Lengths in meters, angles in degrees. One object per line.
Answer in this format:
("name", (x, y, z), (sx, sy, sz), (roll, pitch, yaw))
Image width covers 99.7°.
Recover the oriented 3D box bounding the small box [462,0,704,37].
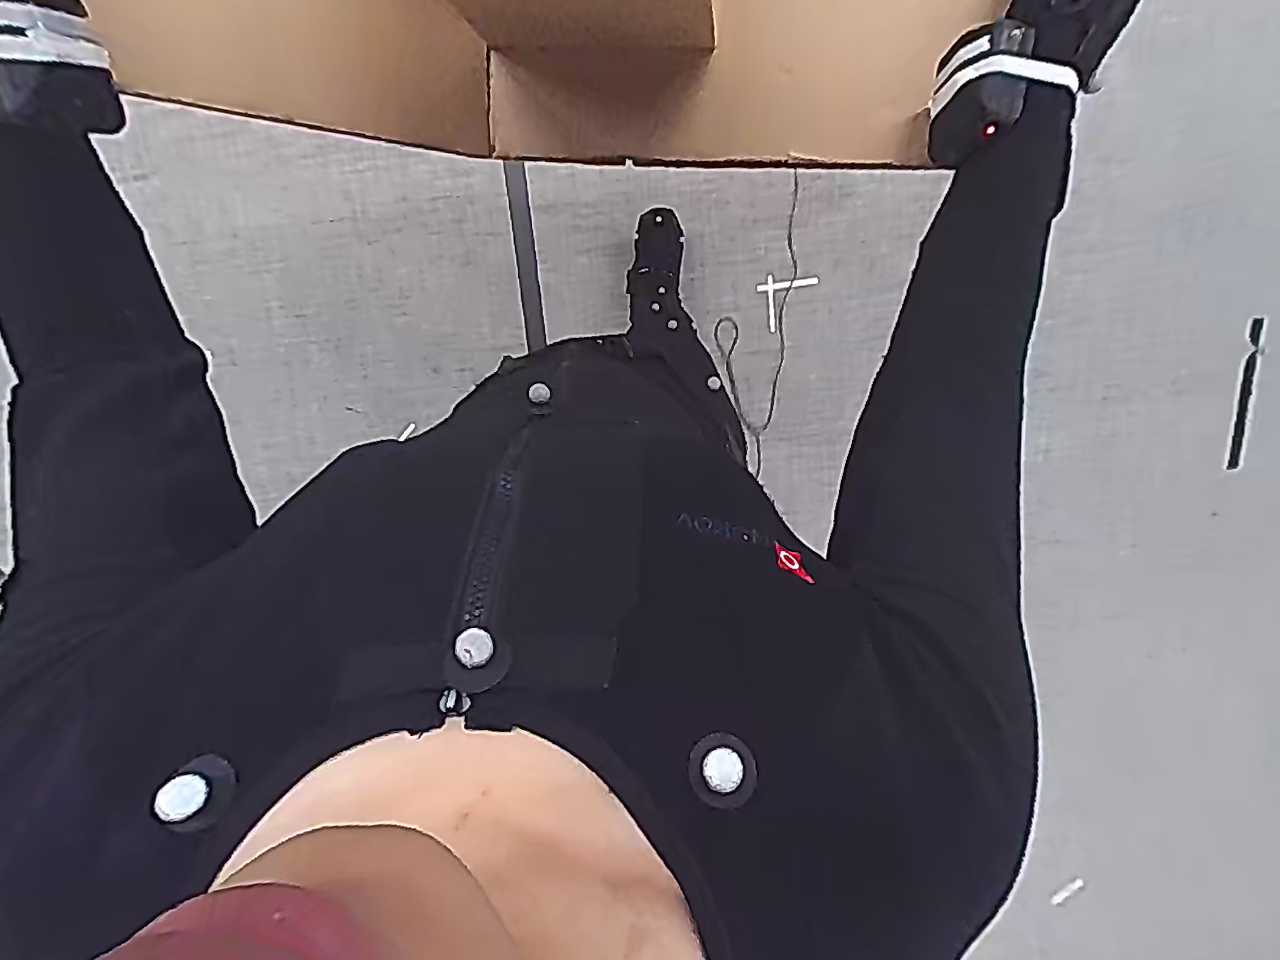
("small box", (-0.040, -0.383, 0.302), (0.179, 0.176, 0.168), (7, 110, 8))
